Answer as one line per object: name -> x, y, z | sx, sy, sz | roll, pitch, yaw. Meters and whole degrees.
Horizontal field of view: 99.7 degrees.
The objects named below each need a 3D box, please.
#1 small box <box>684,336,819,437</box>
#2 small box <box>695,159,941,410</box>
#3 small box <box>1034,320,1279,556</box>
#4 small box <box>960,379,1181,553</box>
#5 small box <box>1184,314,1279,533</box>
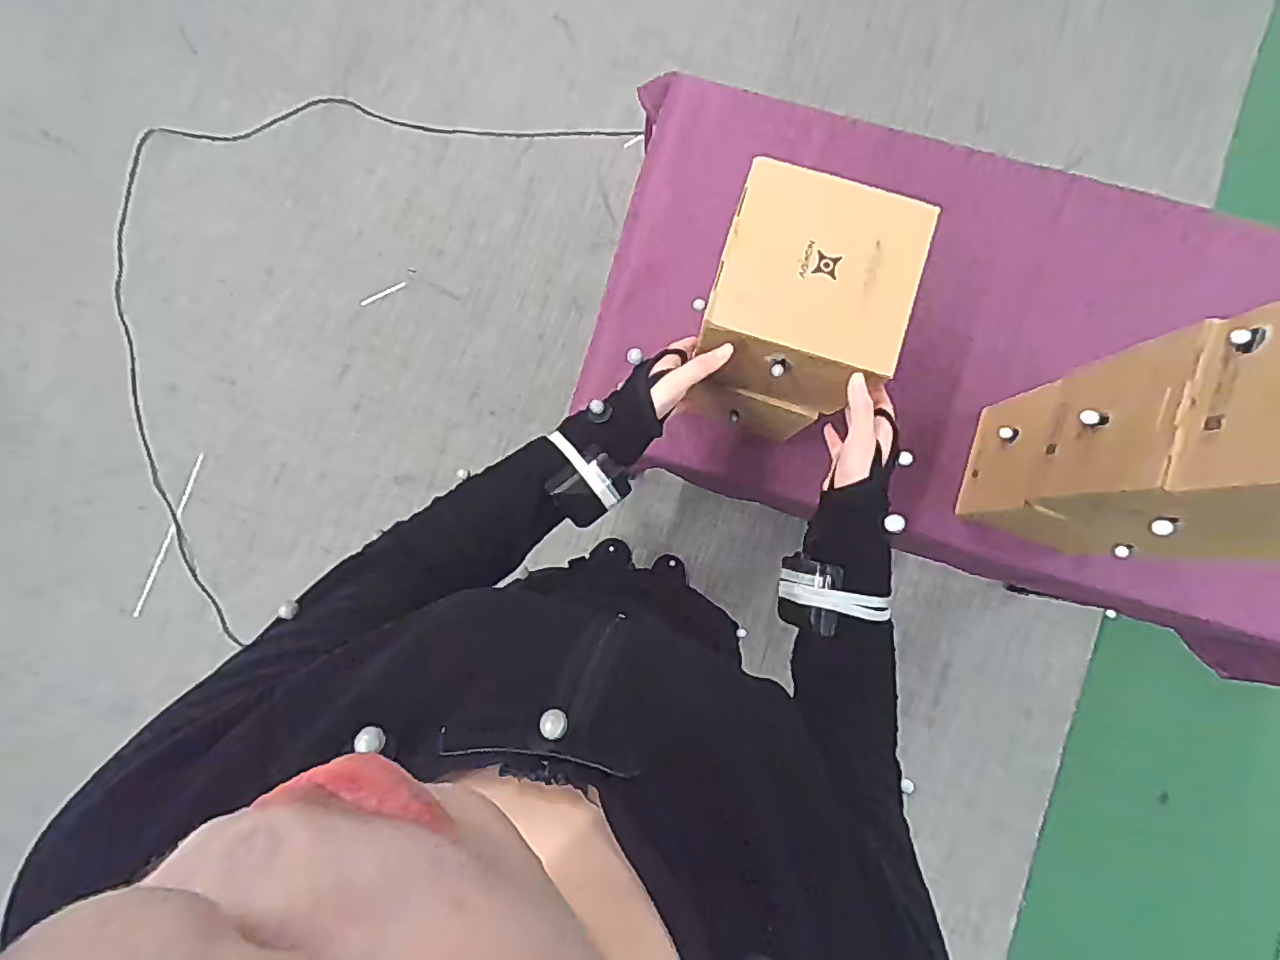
small box -> 0.162, -0.170, 0.723 | 0.168, 0.176, 0.179 | 20, 85, 2
small box -> 0.164, -0.183, 0.560 | 0.179, 0.176, 0.168 | 18, 87, 2
small box -> 0.549, -0.027, 0.539 | 0.179, 0.176, 0.168 | 22, 86, 3
small box -> 0.558, -0.010, 0.703 | 0.179, 0.176, 0.168 | 18, 85, 2
small box -> 0.554, -0.037, 0.375 | 0.179, 0.176, 0.168 | 22, 85, 1
